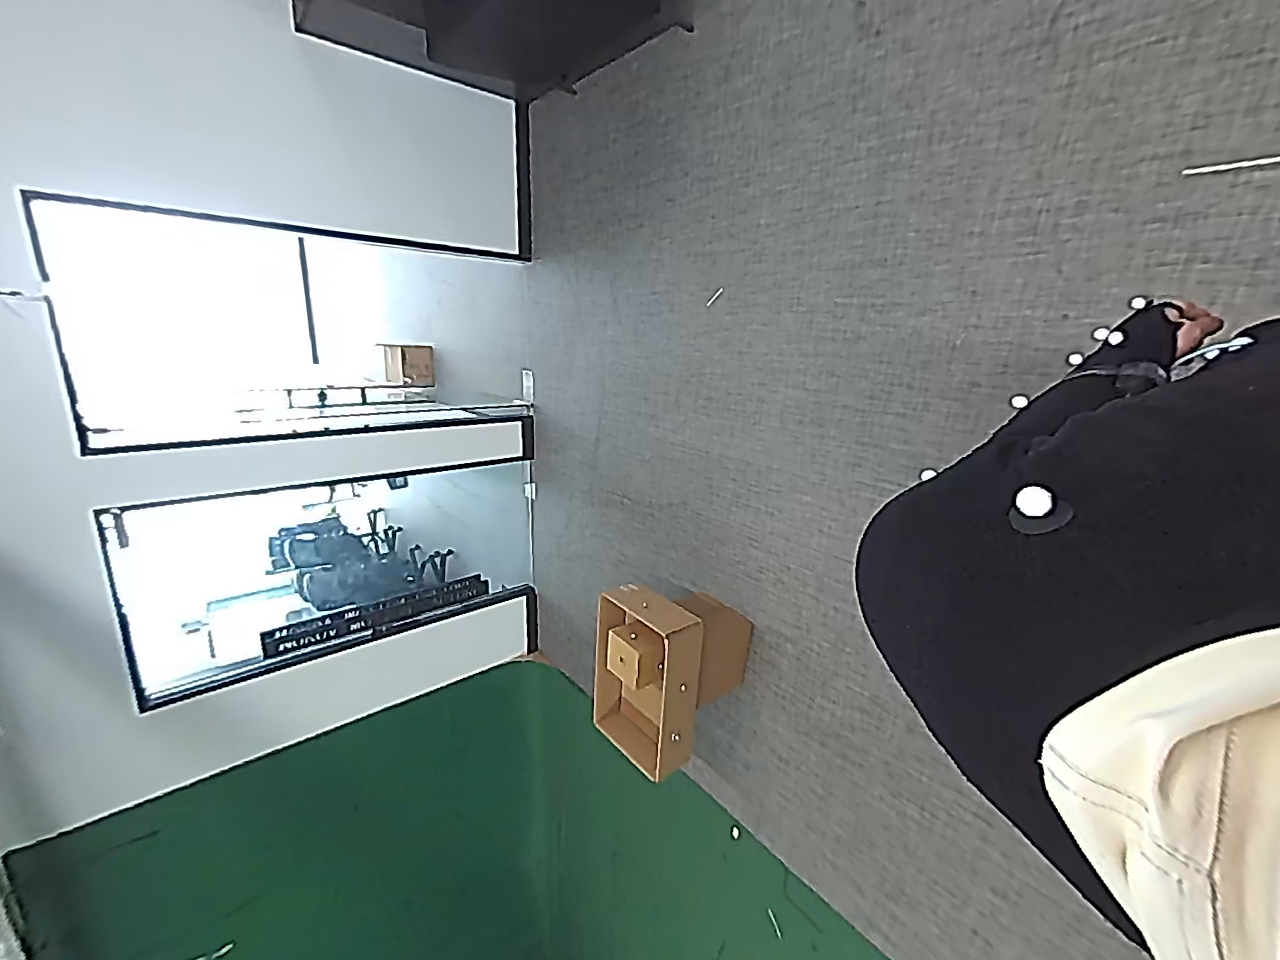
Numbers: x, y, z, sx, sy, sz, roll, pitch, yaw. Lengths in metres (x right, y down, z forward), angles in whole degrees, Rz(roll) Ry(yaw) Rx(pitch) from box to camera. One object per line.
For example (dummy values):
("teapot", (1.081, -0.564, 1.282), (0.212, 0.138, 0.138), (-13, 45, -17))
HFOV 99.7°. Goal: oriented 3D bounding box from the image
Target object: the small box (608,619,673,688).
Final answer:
("small box", (0.001, 0.643, 2.031), (0.179, 0.176, 0.168), (22, 113, 46))
